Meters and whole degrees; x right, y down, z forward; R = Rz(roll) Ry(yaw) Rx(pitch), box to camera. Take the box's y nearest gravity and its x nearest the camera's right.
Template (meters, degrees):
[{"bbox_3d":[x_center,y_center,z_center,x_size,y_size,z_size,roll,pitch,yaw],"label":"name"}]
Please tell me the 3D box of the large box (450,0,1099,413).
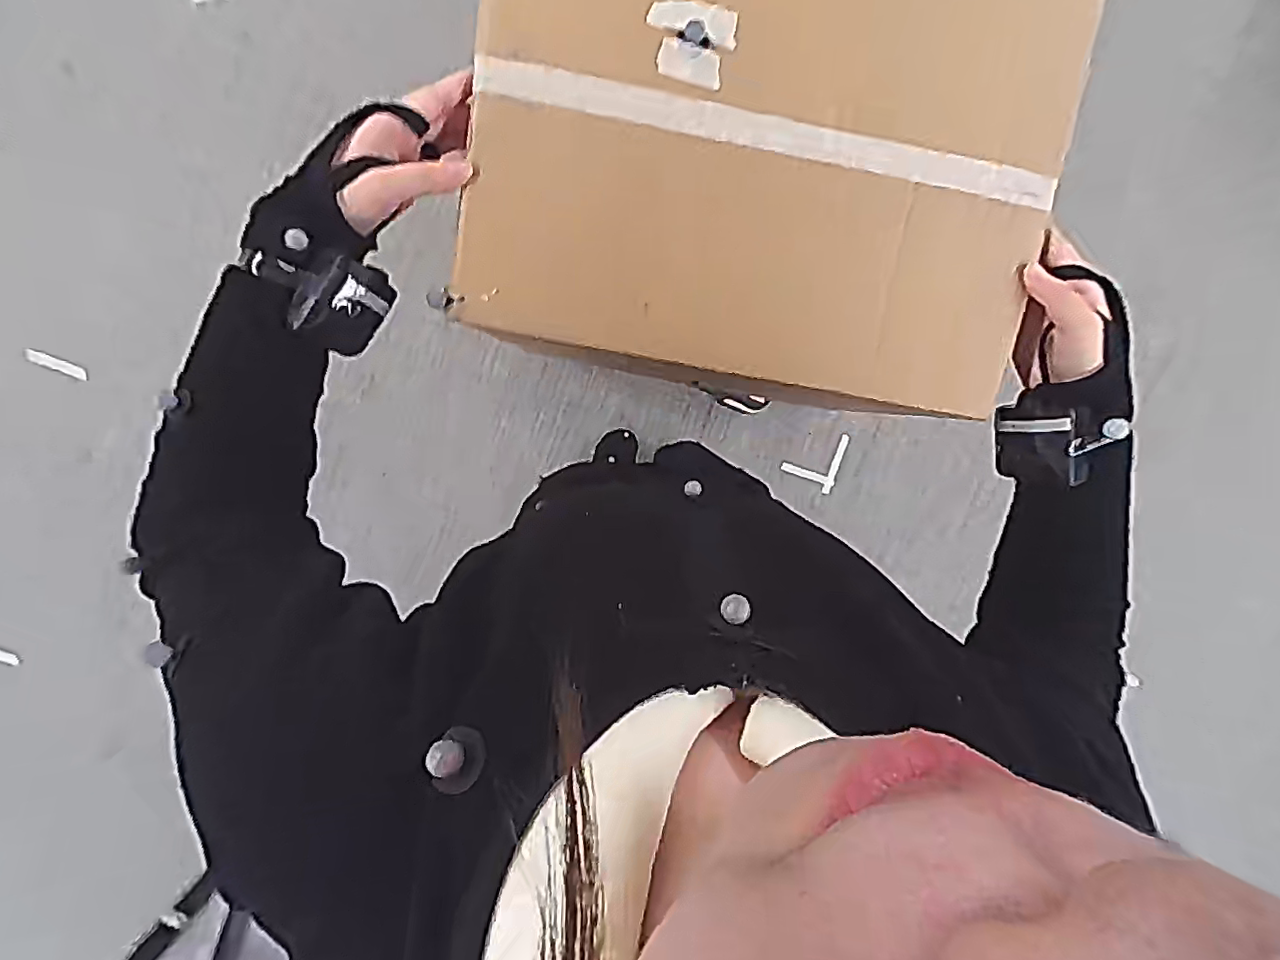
[{"bbox_3d":[0.082,-0.251,0.510,0.408,0.320,0.320,9,98,-3],"label":"large box"}]
